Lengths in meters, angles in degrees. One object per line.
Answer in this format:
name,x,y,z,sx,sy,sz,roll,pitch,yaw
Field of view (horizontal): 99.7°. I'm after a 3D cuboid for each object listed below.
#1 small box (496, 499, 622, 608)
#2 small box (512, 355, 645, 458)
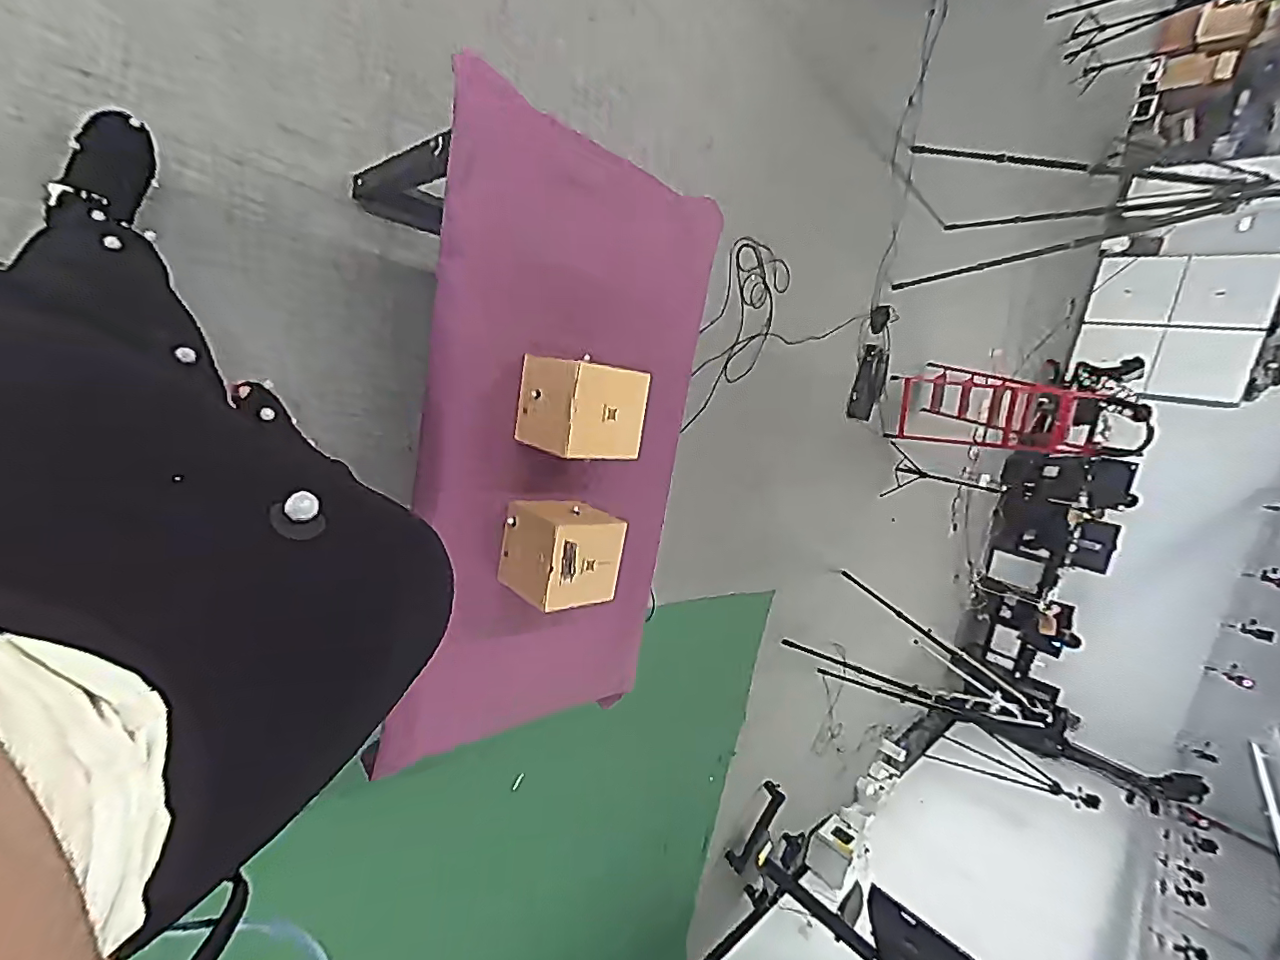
small box,-0.166,0.139,1.083,0.179,0.176,0.168,2,103,-46
small box,-0.119,-0.140,1.033,0.179,0.176,0.168,-2,105,-44
